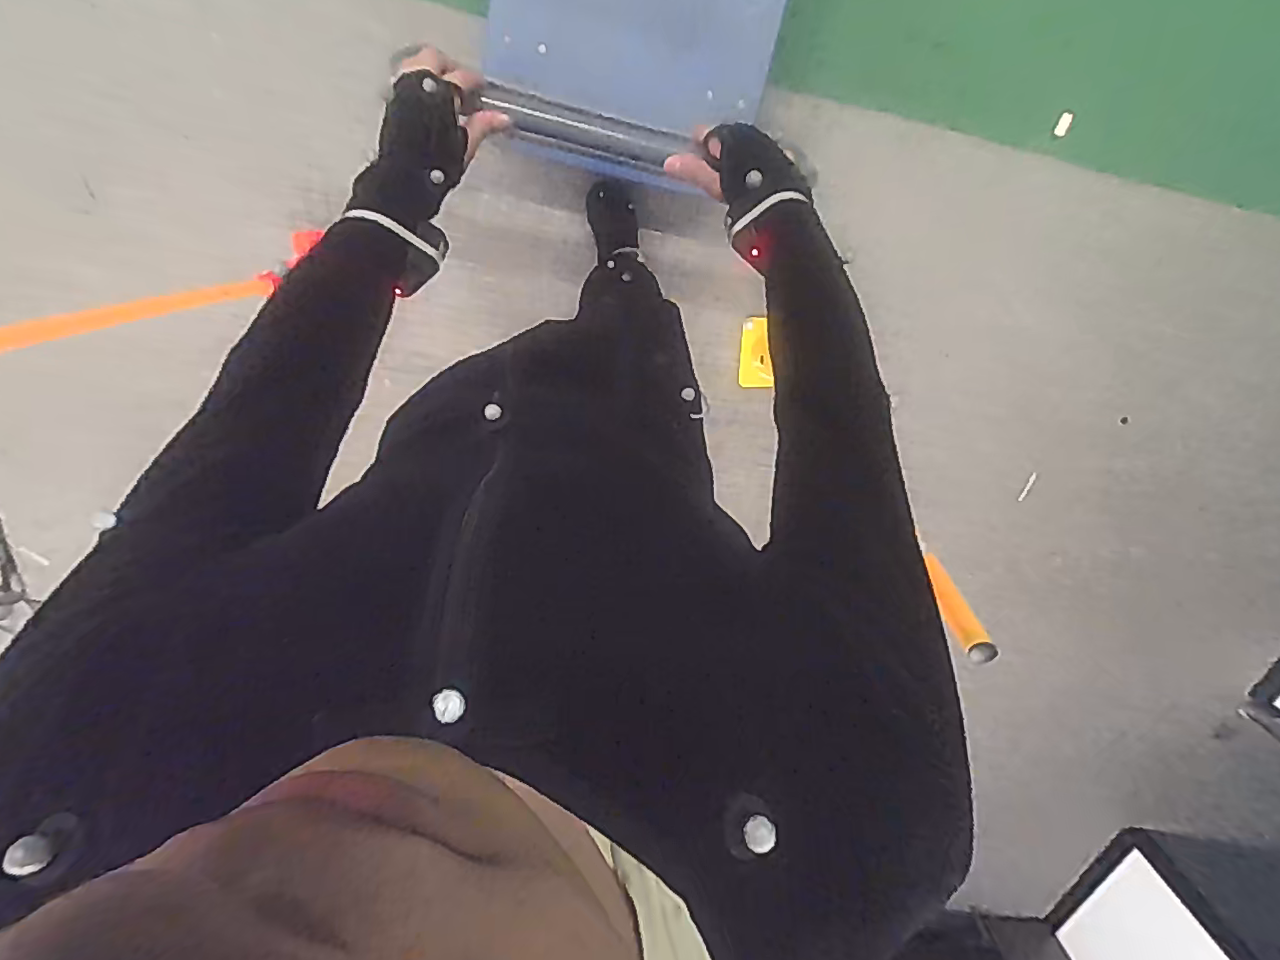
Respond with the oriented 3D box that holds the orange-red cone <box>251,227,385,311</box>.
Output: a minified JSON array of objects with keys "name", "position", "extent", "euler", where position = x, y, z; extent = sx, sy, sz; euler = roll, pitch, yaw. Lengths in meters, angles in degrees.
[{"name":"orange-red cone","position":[-0.773,-0.473,1.251],"extent":[0.199,0.360,0.198],"euler":[-3,115,1]}]
